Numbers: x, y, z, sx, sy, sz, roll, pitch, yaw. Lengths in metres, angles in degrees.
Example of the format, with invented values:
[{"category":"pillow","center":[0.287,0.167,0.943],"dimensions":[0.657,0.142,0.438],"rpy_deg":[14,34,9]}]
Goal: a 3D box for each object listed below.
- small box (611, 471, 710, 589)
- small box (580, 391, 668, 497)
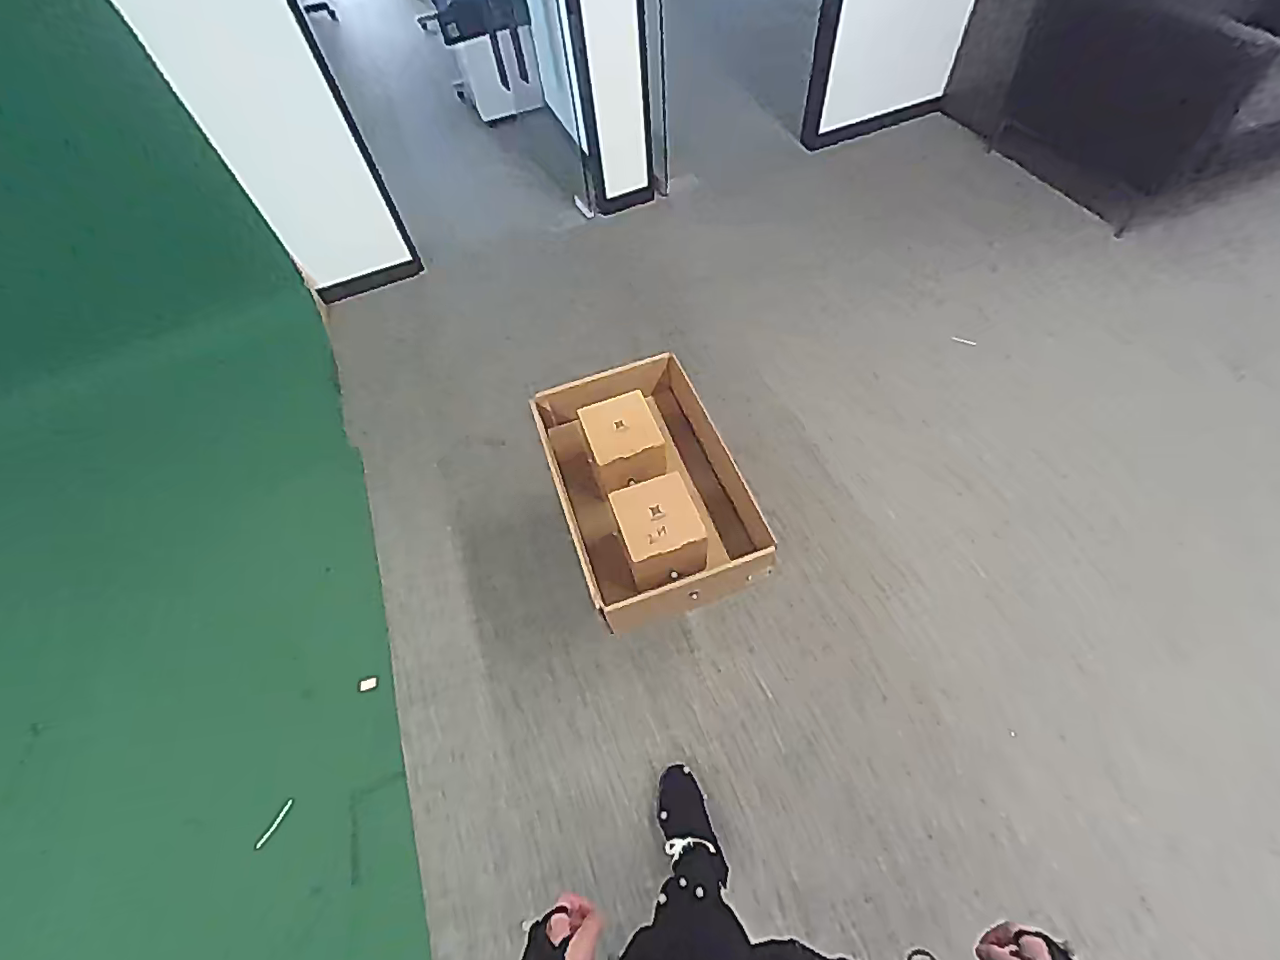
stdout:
[{"category":"small box","center":[0.045,0.114,1.197],"dimensions":[0.168,0.176,0.179],"rpy_deg":[-19,57,-6]},{"category":"small box","center":[-0.037,-0.084,1.337],"dimensions":[0.168,0.176,0.179],"rpy_deg":[-20,59,-7]}]
